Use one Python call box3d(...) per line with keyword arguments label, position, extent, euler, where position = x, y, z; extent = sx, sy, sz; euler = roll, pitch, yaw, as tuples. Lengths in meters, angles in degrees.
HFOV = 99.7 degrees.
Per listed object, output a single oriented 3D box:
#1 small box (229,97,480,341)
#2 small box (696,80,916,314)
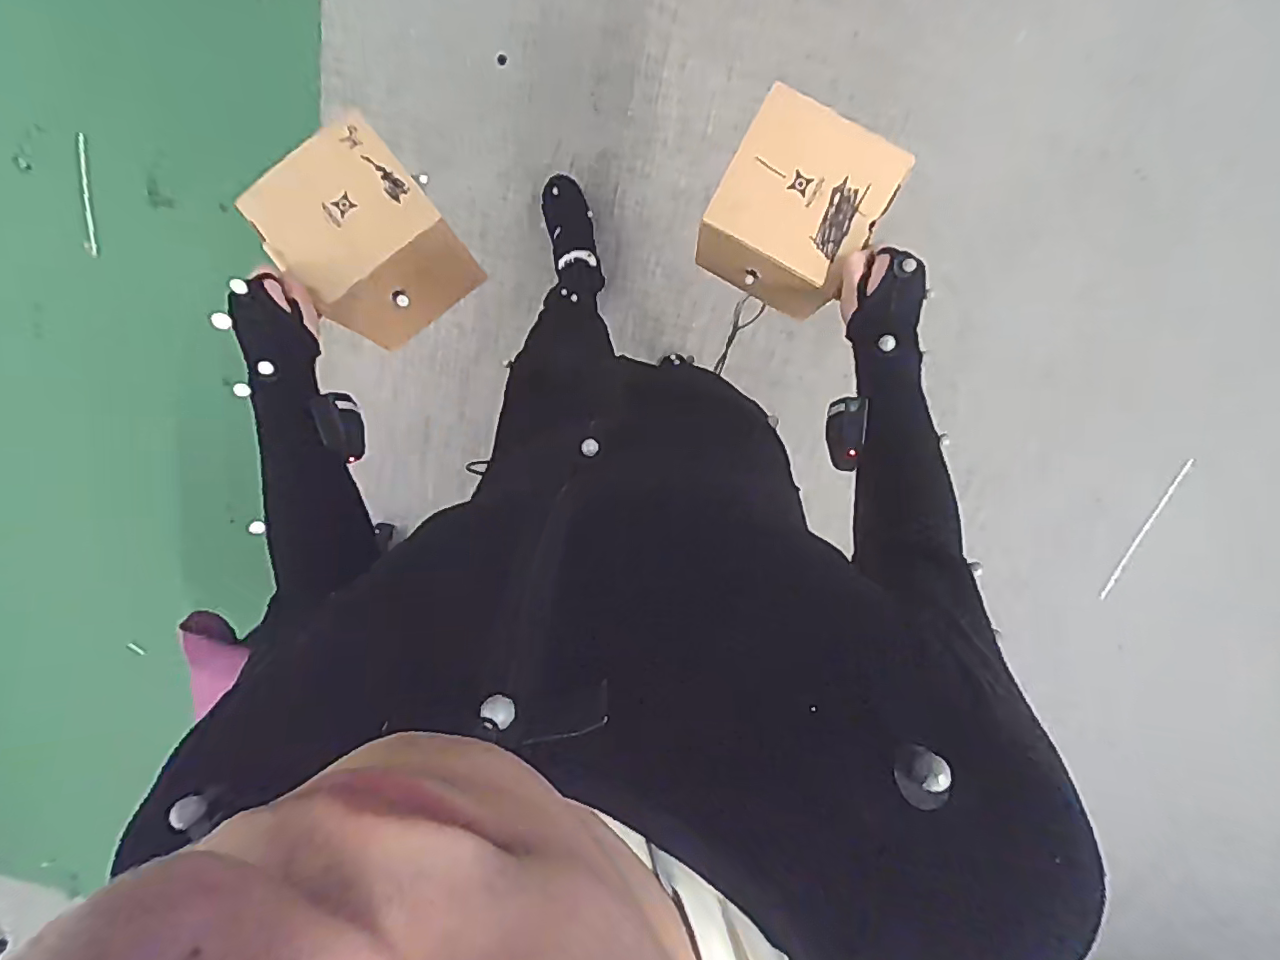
box3d(label="small box", position=(-0.330, -0.299, 0.663), extent=(0.179, 0.176, 0.168), euler=(-37, 88, 1))
box3d(label="small box", position=(0.184, -0.320, 0.658), extent=(0.179, 0.176, 0.168), euler=(30, 96, 0))
